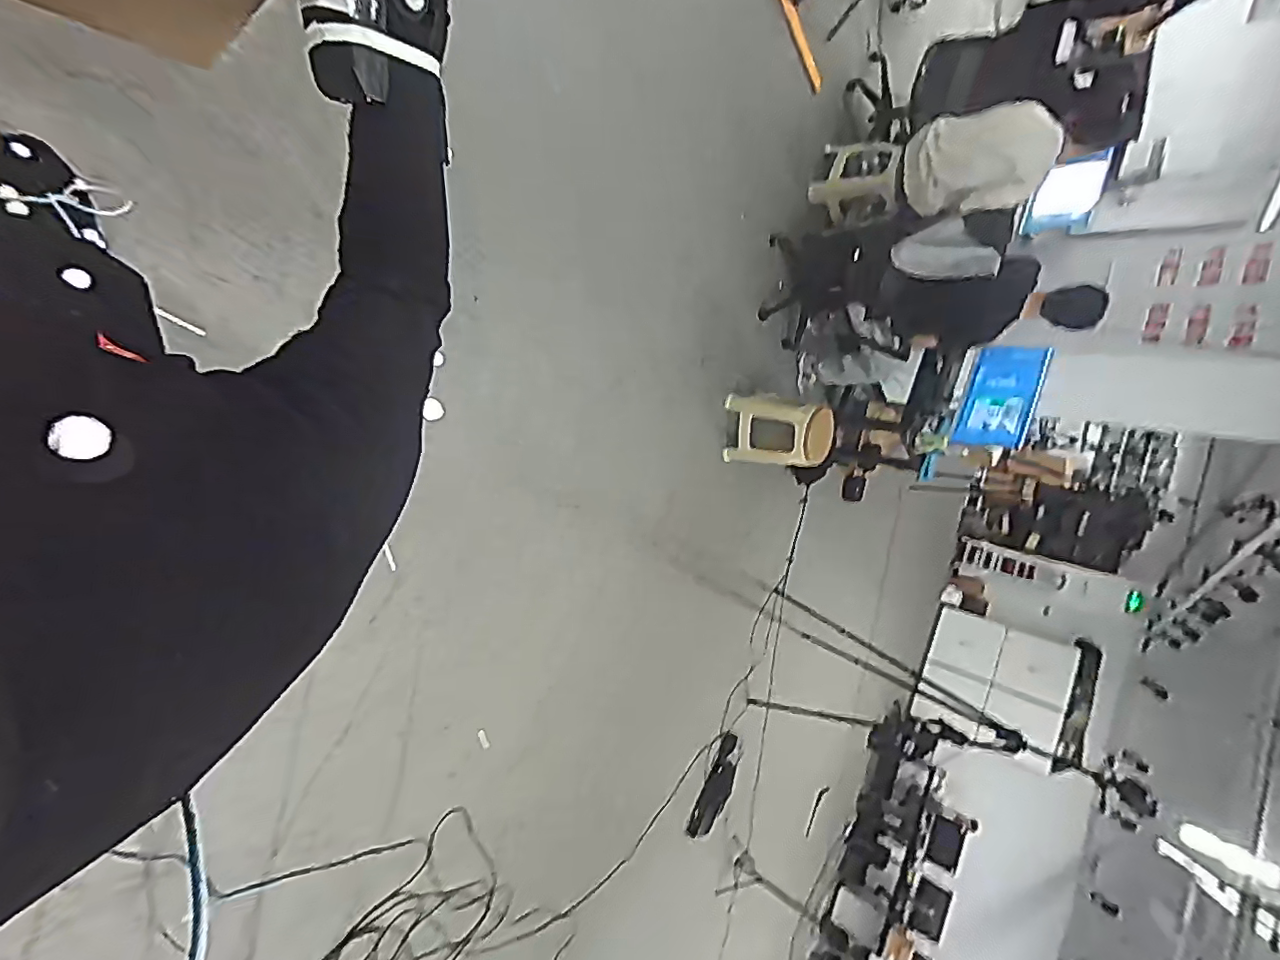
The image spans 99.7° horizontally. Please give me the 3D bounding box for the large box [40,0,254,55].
[{"bbox_3d":[-0.423,-0.491,0.243,0.408,0.320,0.320,-9,111,-48],"label":"large box"}]
